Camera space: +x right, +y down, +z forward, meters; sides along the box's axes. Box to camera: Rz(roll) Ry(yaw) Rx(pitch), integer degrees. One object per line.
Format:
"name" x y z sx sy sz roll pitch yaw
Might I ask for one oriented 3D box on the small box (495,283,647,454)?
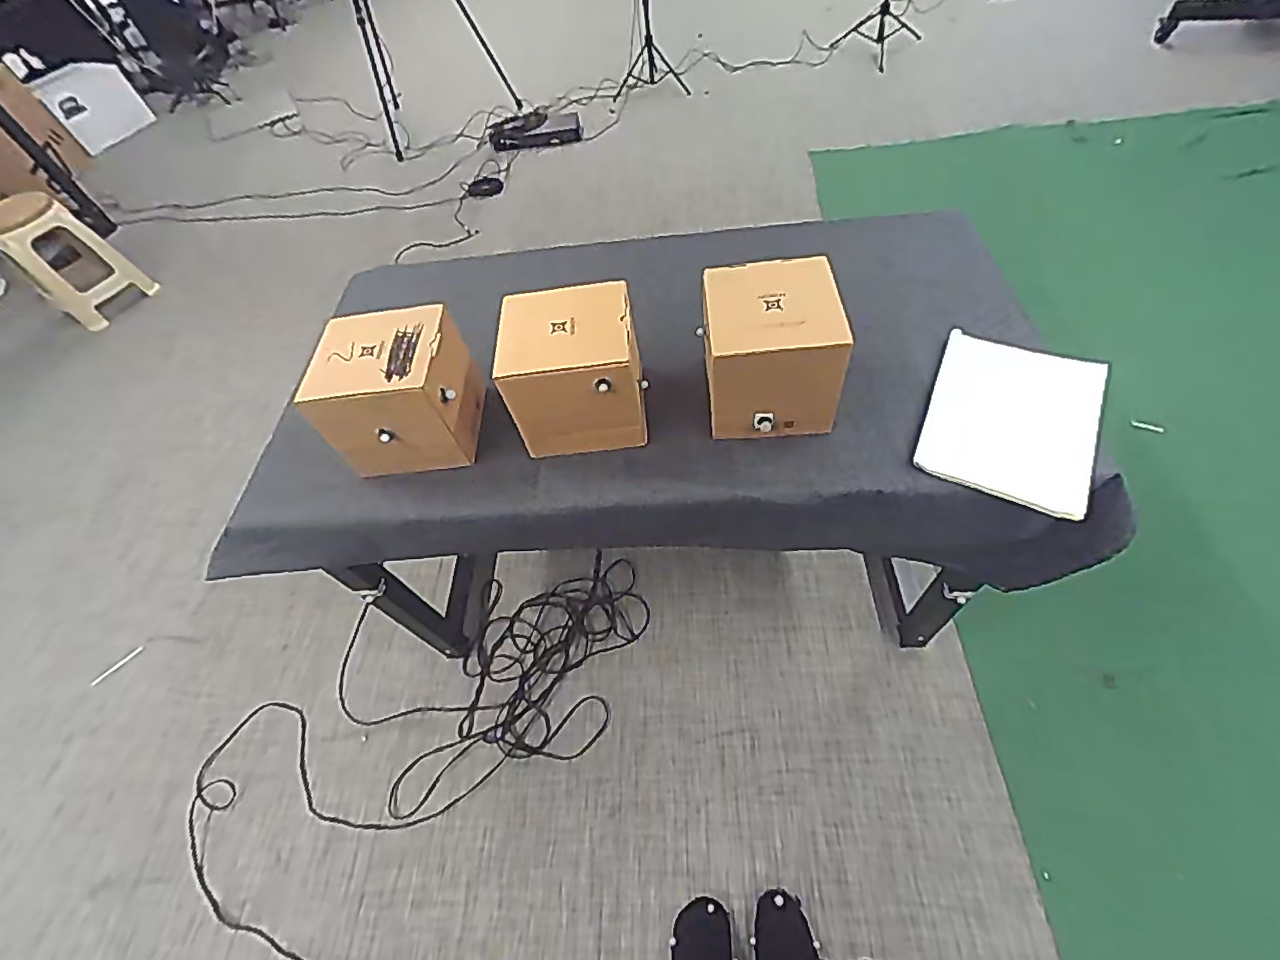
"small box" -0.089 -0.152 0.776 0.179 0.176 0.168 -6 54 3

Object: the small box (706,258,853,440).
"small box" 0.180 -0.177 0.752 0.168 0.176 0.179 -5 56 7
